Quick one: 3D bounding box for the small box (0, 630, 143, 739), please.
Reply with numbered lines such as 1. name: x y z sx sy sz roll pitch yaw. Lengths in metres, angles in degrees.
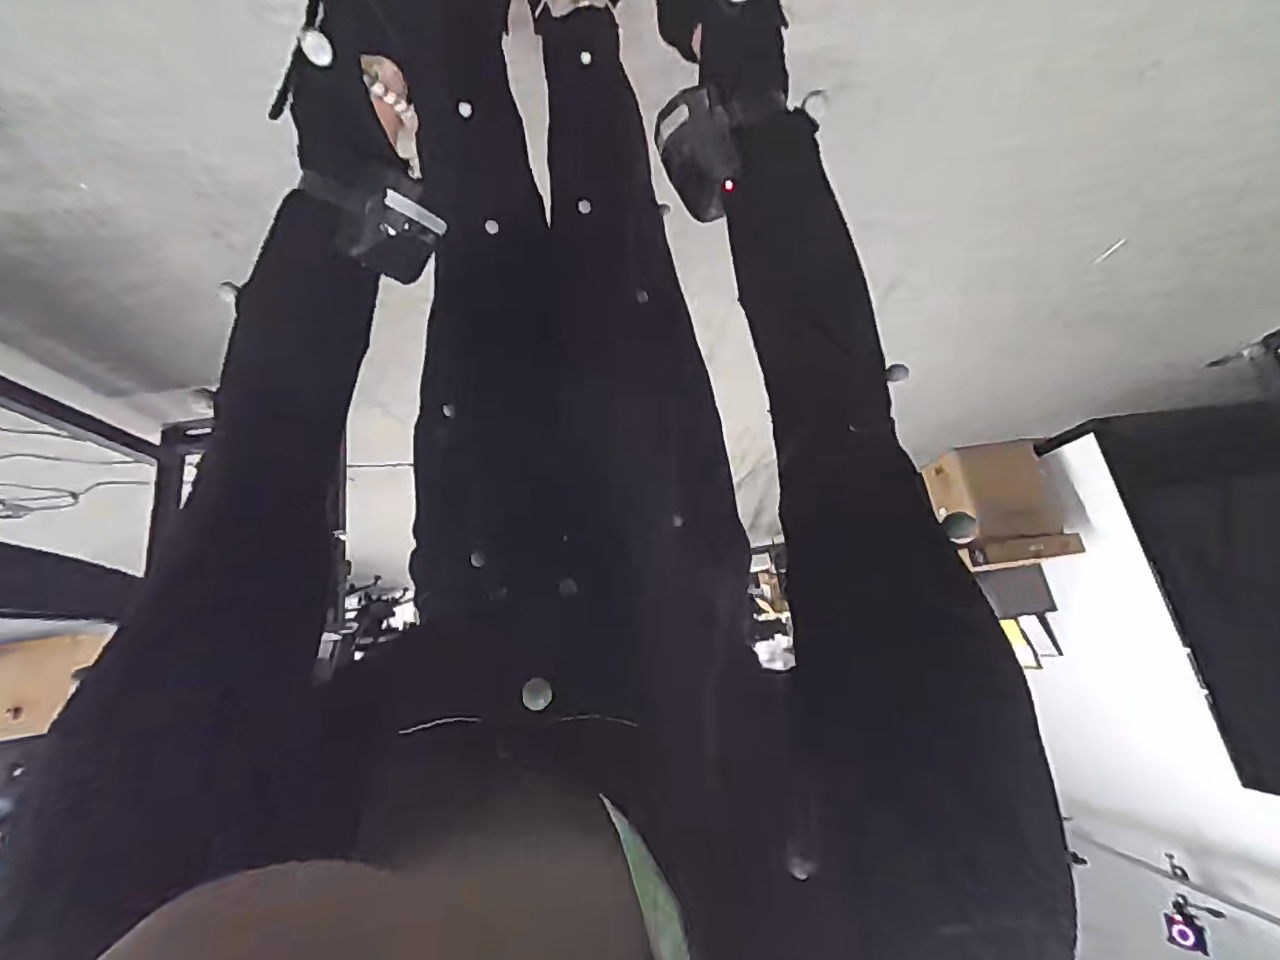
1. small box: -1.107 0.388 1.030 0.179 0.176 0.168 -8 163 -4
